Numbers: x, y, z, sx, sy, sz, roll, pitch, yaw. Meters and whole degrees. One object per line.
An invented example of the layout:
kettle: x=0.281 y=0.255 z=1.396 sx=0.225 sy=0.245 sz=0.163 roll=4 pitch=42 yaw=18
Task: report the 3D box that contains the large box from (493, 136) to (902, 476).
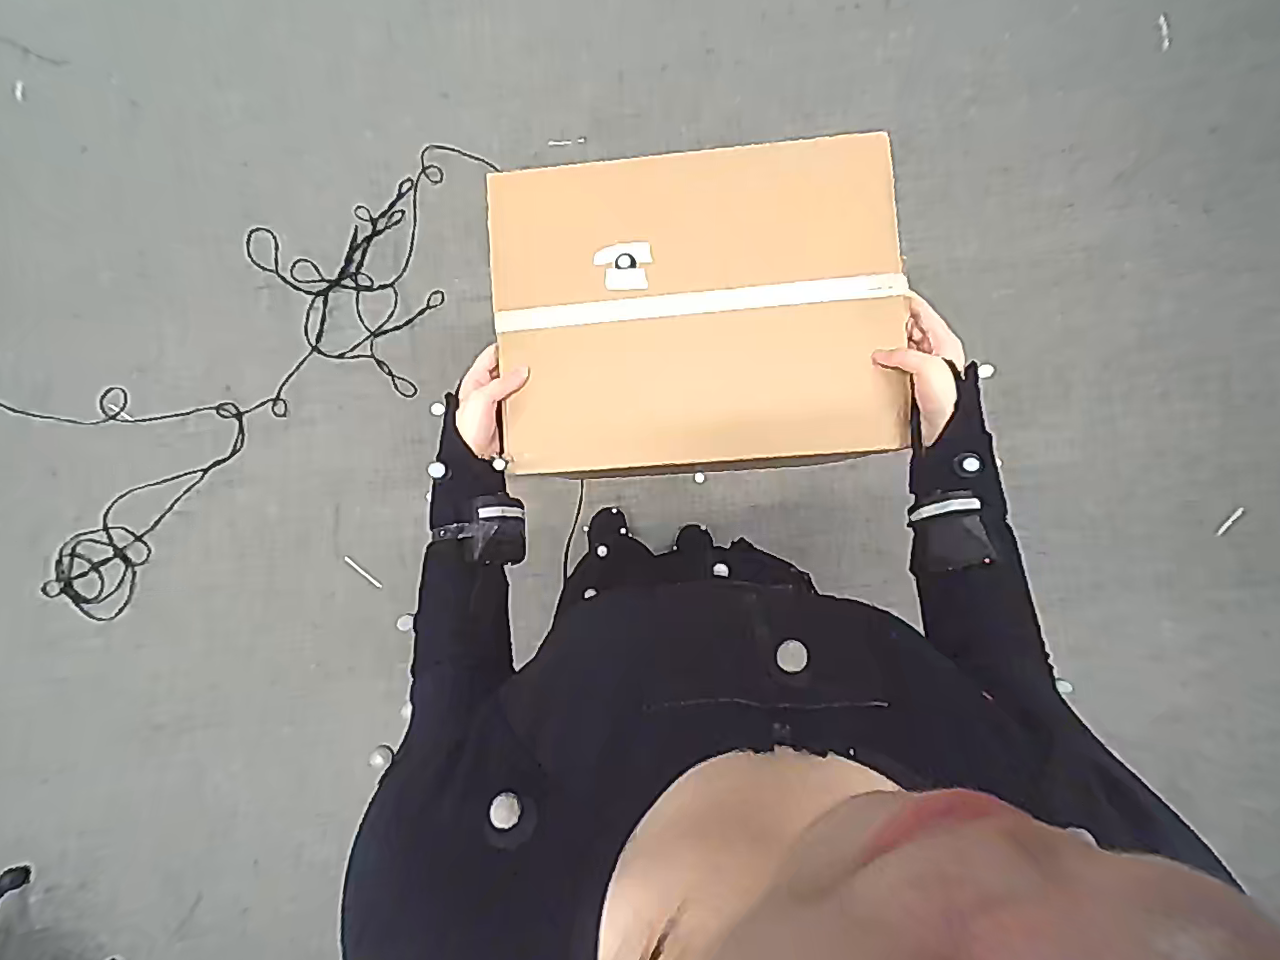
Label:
large box: x=0.067 y=-0.174 z=0.701 sx=0.408 sy=0.320 sz=0.320 roll=-4 pitch=89 yaw=6
